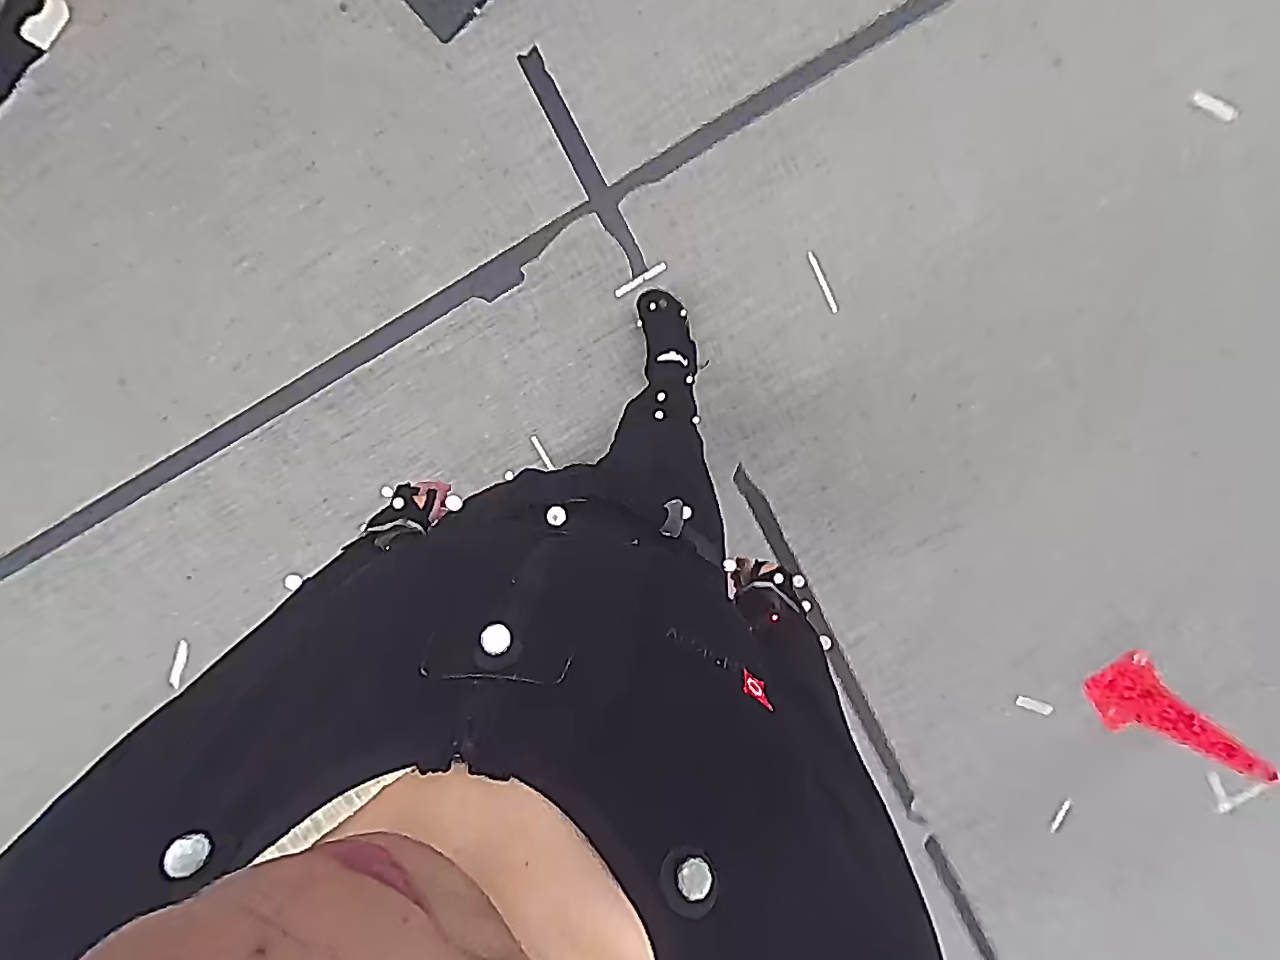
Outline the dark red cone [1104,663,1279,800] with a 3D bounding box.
[{"bbox_3d":[1.423,0.658,1.356,0.201,0.394,0.202,-36,100,5],"label":"dark red cone"}]
